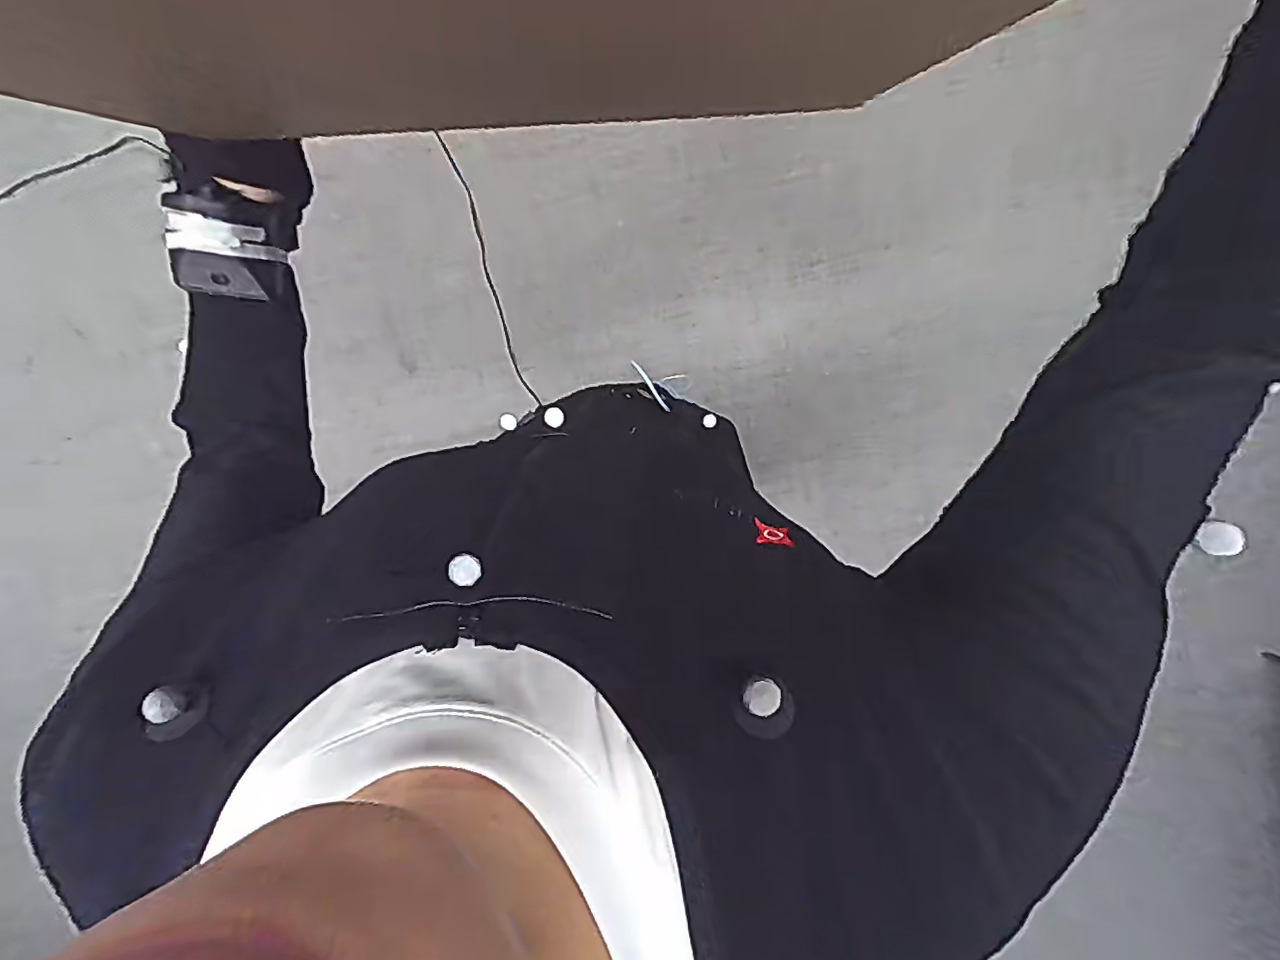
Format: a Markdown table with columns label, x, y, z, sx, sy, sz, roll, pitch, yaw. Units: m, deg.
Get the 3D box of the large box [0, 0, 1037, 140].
| label | x | y | z | sx | sy | sz | roll | pitch | yaw |
| --- | --- | --- | --- | --- | --- | --- | --- | --- | --- |
| large box | -0.053 | -0.298 | 0.132 | 0.408 | 0.320 | 0.320 | -4 | 115 | -1 |
